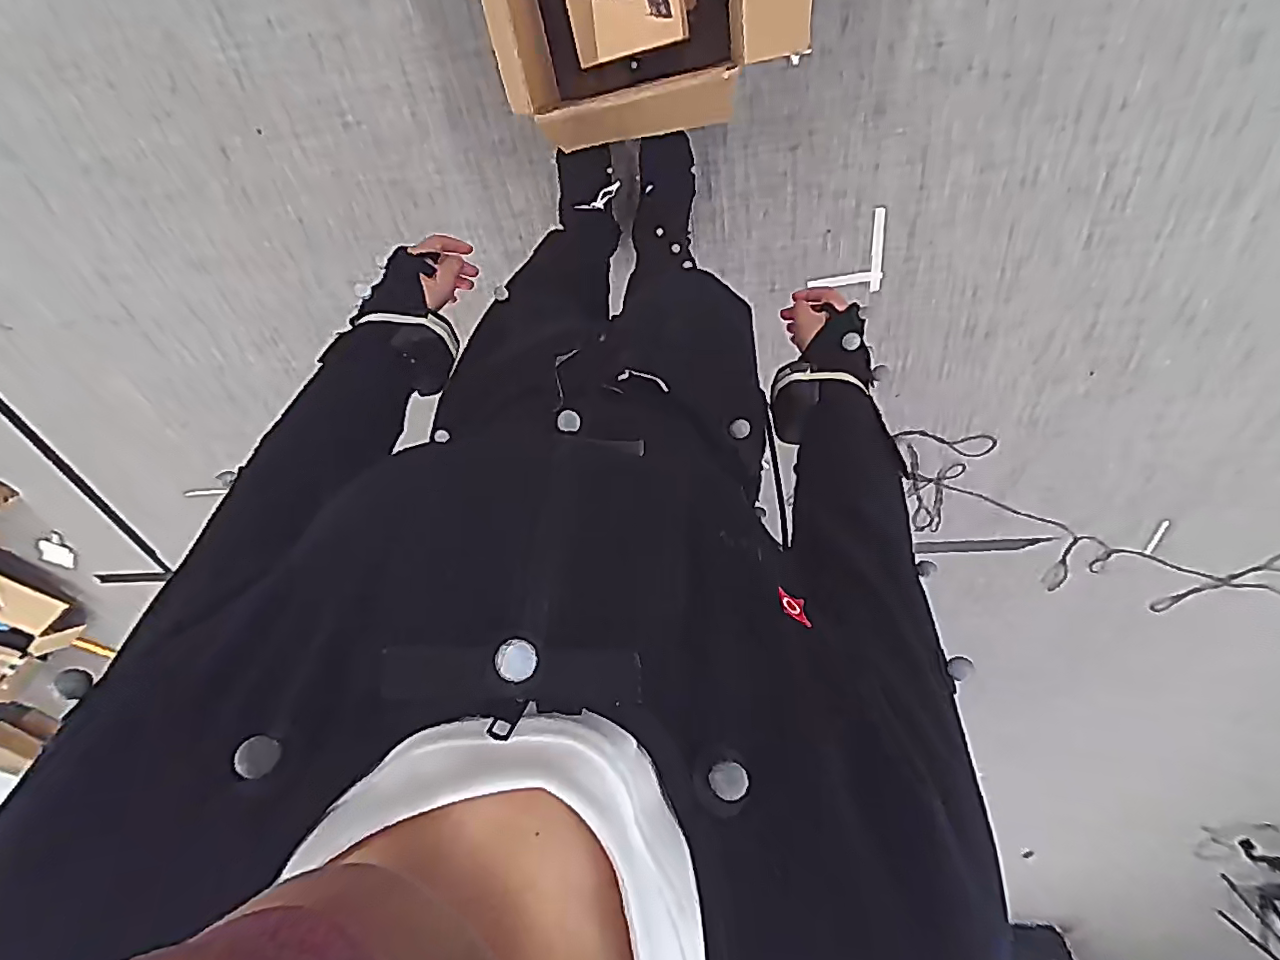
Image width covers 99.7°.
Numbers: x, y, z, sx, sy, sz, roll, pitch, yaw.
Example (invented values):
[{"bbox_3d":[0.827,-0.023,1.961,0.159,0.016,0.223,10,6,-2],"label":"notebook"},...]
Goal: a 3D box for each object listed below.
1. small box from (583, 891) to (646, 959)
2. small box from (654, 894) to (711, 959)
[{"bbox_3d":[-0.074,1.413,1.685,0.168,0.176,0.179,-1,130,6],"label":"small box"},{"bbox_3d":[0.135,1.399,1.653,0.168,0.176,0.179,-1,129,6],"label":"small box"}]
